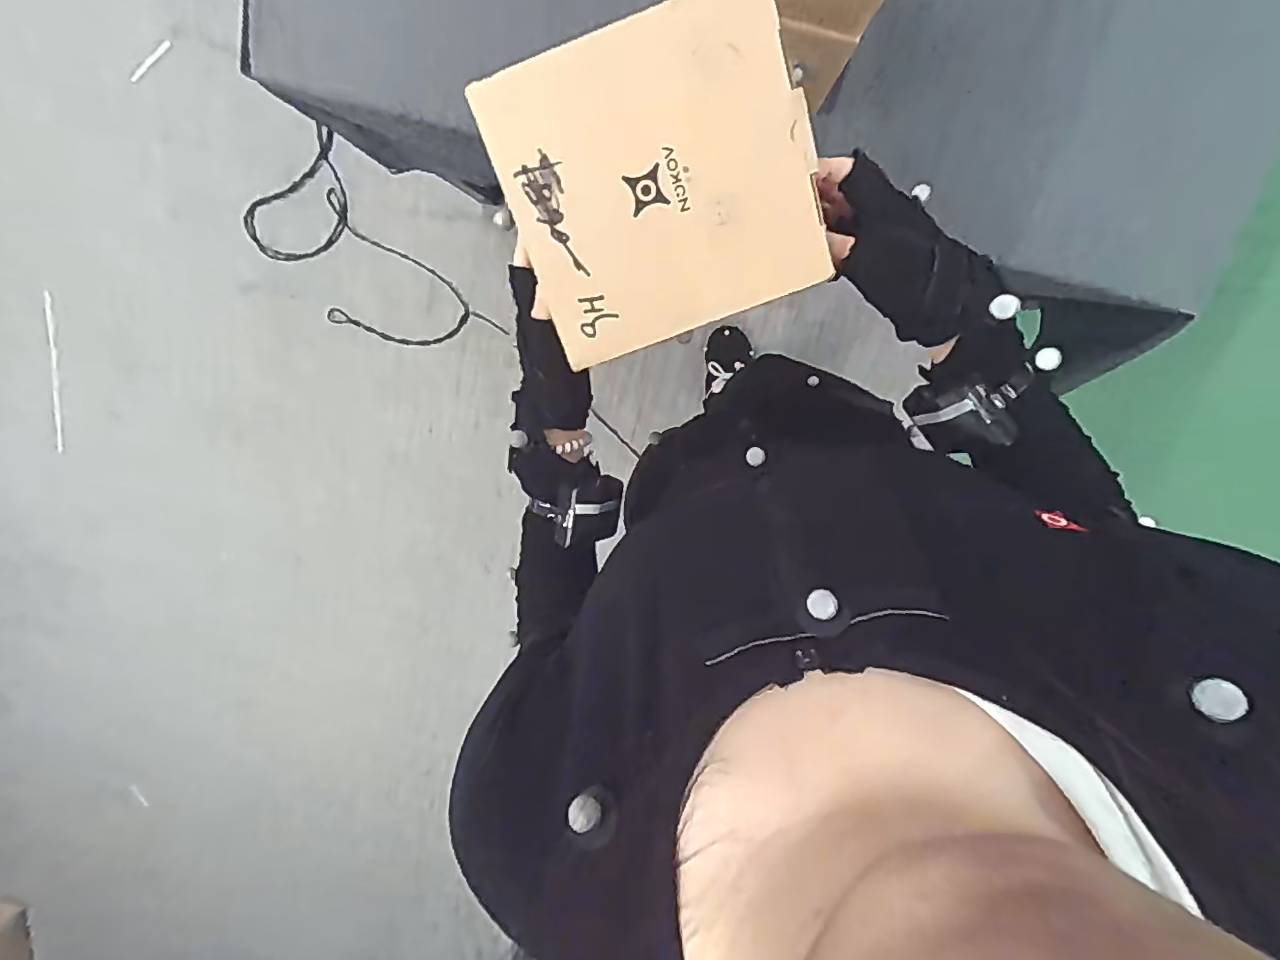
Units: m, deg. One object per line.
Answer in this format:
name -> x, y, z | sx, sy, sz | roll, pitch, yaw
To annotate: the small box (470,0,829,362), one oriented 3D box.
small box -> 0.007, -0.197, 0.391 | 0.179, 0.176, 0.168 | -19, 106, 3
